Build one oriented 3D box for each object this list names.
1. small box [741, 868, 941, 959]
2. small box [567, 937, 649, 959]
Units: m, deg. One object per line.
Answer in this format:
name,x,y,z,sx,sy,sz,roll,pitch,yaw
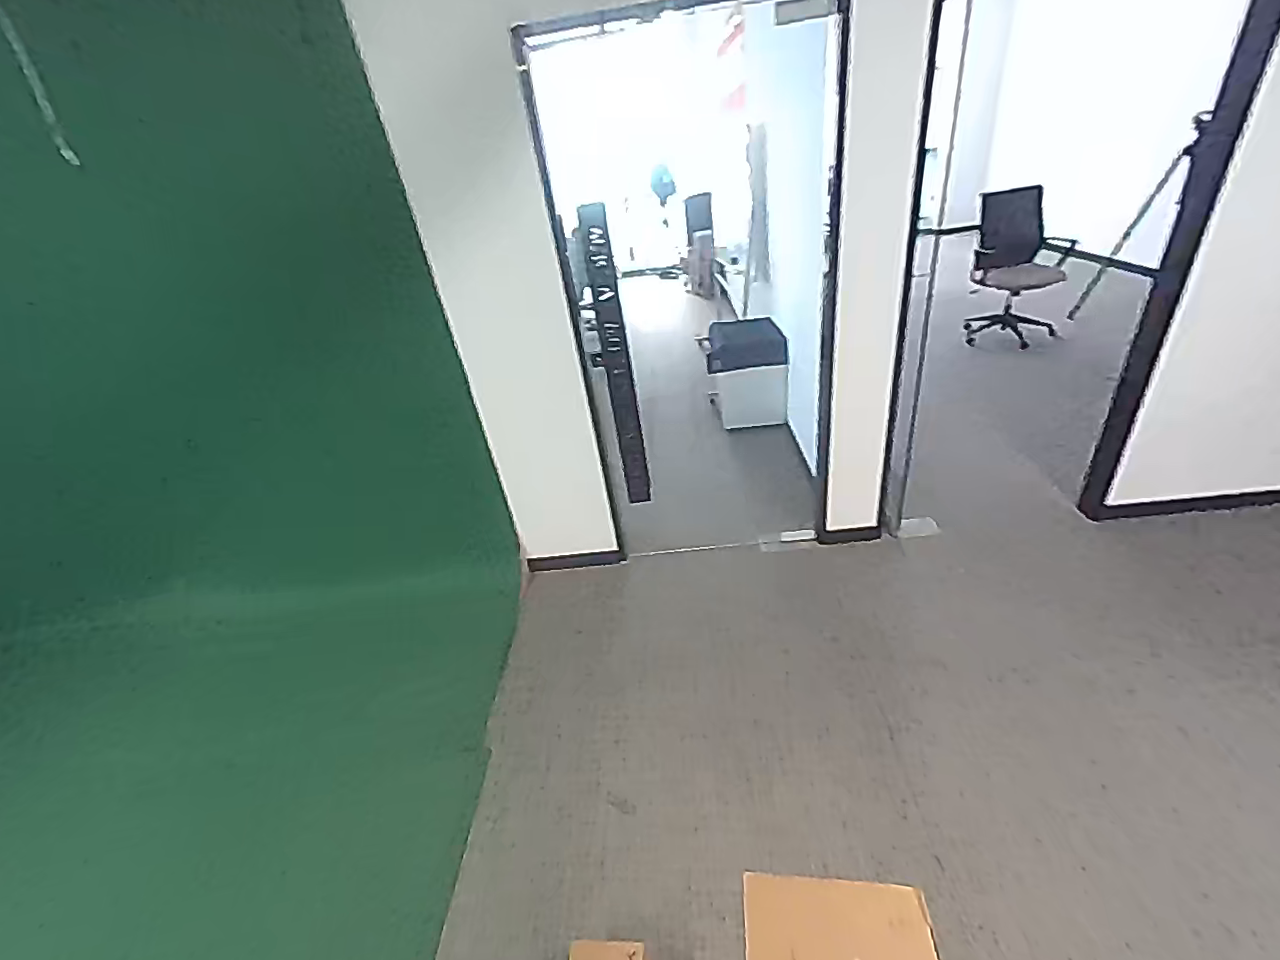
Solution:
small box,0.185,0.506,0.510,0.179,0.176,0.168,-2,31,11
small box,-0.072,1.165,1.212,0.179,0.176,0.168,-4,31,9
